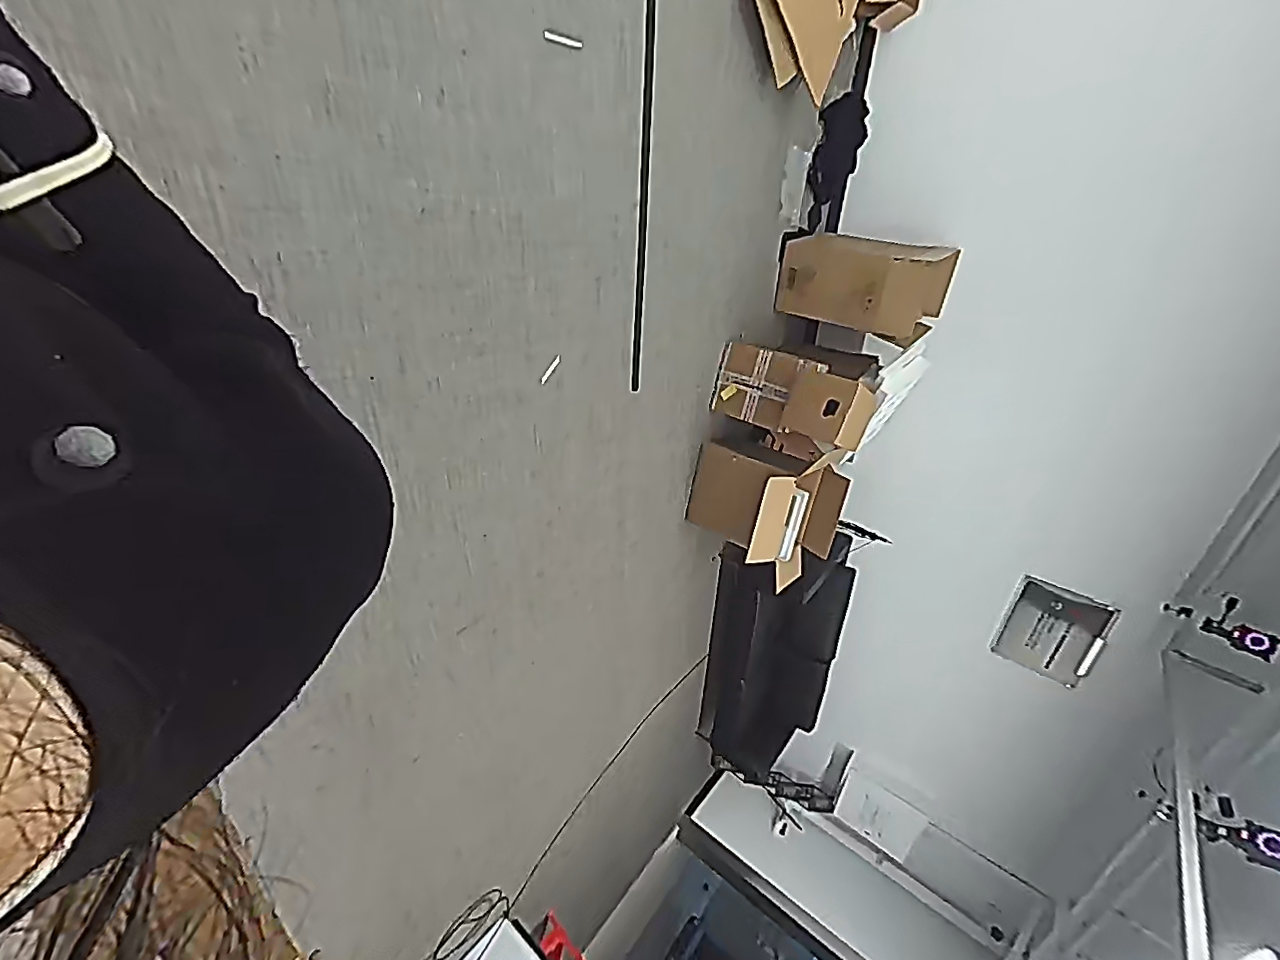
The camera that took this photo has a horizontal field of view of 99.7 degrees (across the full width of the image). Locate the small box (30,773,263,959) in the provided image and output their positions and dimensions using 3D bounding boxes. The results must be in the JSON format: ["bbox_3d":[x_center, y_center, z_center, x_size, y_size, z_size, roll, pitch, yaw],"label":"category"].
[{"bbox_3d":[-0.580,0.496,0.654,0.168,0.176,0.179,-27,130,-45],"label":"small box"}]

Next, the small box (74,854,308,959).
[{"bbox_3d":[-0.452,0.547,0.564,0.168,0.176,0.179,-30,131,-44],"label":"small box"}]

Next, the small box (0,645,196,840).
[{"bbox_3d":[-0.835,0.393,0.834,0.168,0.176,0.179,-29,131,-44],"label":"small box"}]
